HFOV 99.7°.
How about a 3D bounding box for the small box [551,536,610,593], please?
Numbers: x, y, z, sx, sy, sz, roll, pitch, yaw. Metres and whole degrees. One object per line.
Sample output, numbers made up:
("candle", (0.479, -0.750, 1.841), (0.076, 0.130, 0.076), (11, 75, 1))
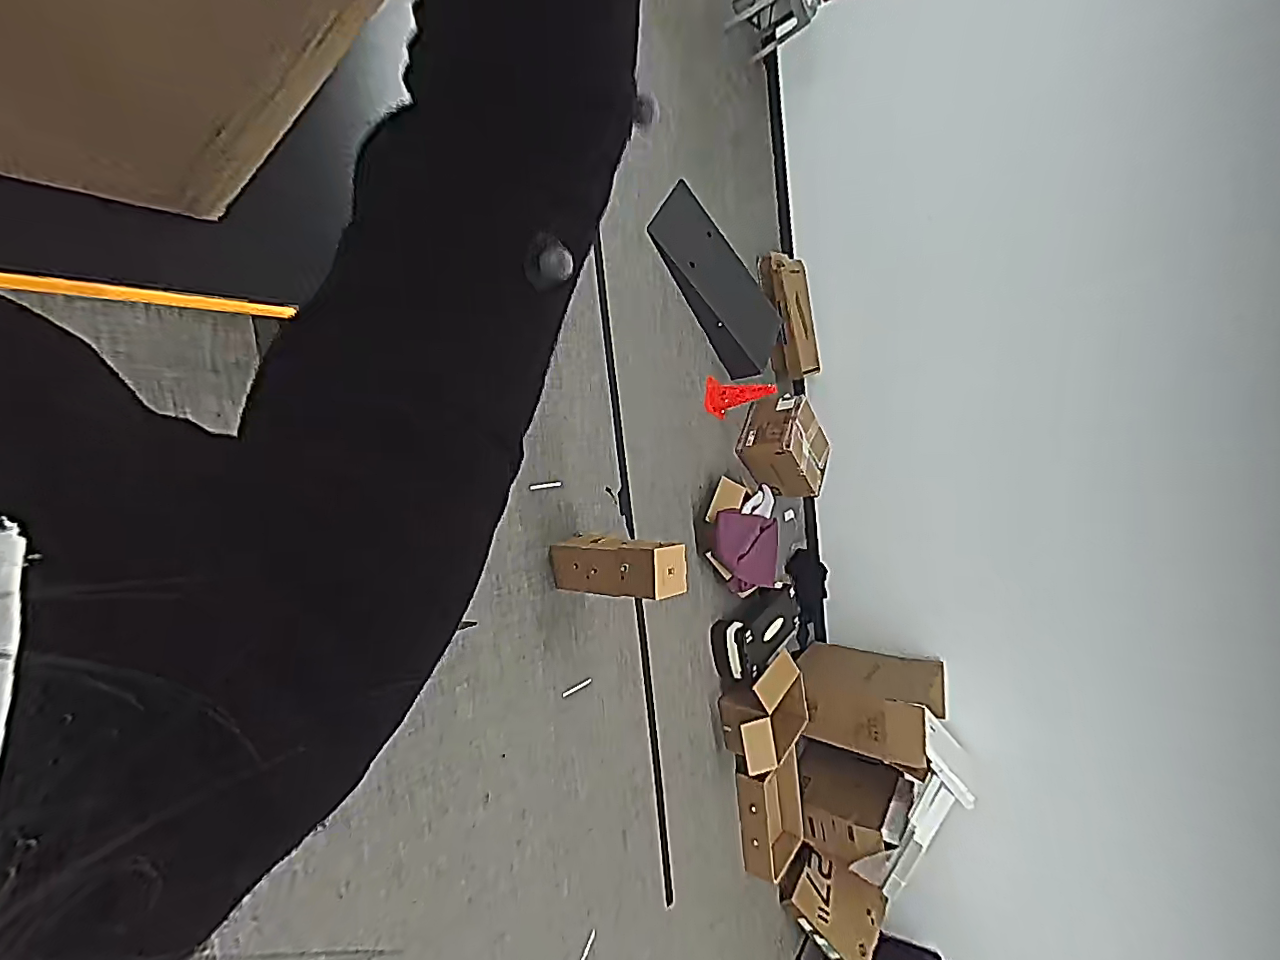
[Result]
("small box", (-0.219, 0.314, 2.035), (0.168, 0.176, 0.179), (-15, 101, -50))

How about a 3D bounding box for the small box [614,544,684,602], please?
("small box", (0.031, 0.307, 1.824), (0.179, 0.176, 0.168), (-1, 88, -50))

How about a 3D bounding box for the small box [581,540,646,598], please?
("small box", (-0.090, 0.313, 1.932), (0.179, 0.176, 0.168), (-10, 95, -50))
